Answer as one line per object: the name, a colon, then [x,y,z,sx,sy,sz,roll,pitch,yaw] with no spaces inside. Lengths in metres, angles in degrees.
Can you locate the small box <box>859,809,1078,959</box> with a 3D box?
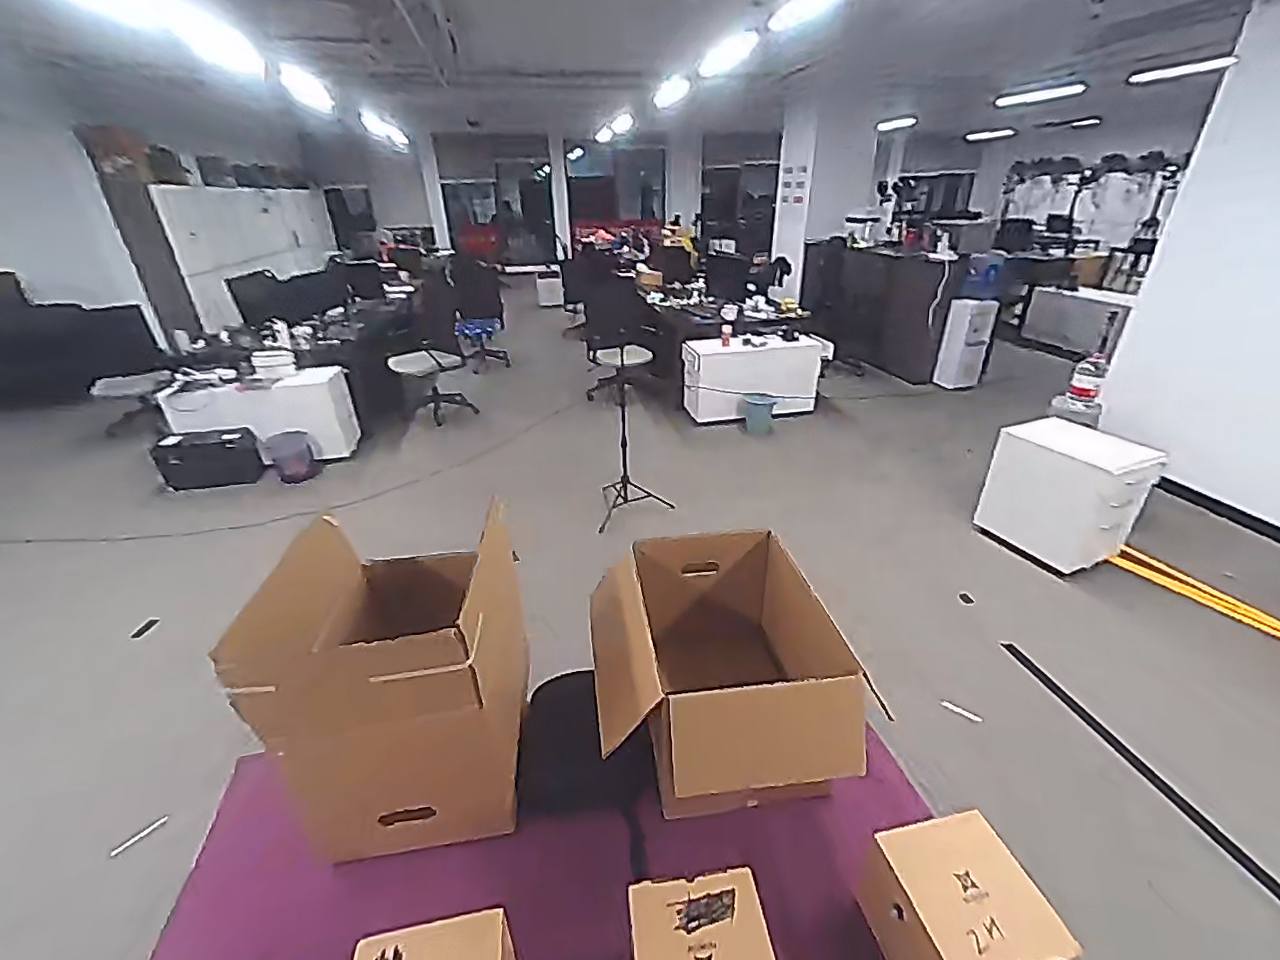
small box: [0.420,0.591,0.728,0.168,0.176,0.179,-7,29,-8]
